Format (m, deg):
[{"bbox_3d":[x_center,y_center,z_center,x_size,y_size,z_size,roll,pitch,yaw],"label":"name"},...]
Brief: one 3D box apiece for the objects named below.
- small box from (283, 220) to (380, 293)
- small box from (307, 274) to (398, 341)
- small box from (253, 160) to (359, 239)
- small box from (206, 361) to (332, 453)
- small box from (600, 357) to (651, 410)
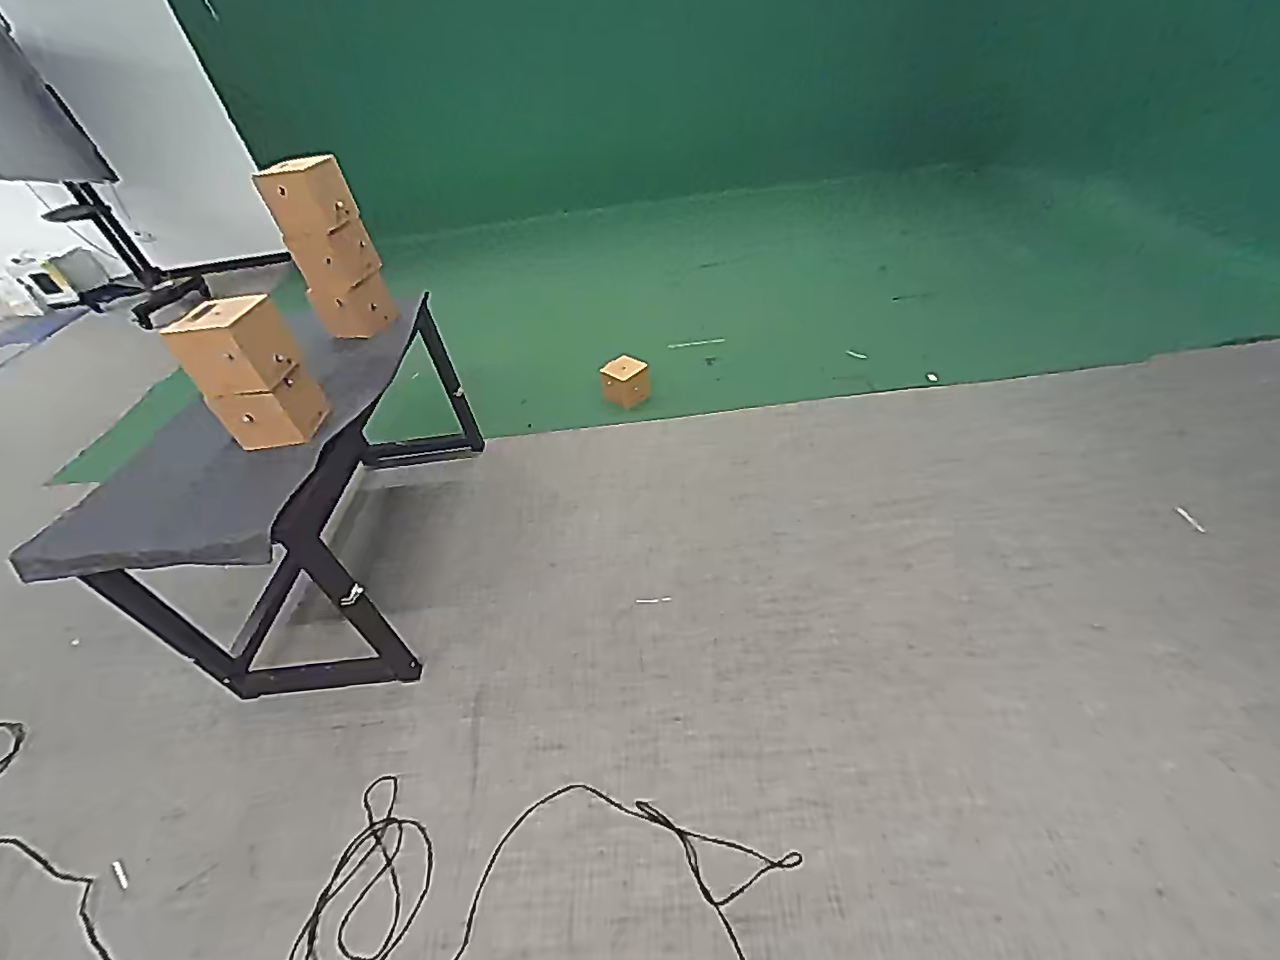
[{"bbox_3d":[-0.978,-0.715,1.733,0.179,0.176,0.168,2,43,16],"label":"small box"},{"bbox_3d":[-0.963,-0.583,1.829,0.179,0.176,0.168,6,44,20],"label":"small box"},{"bbox_3d":[-0.996,-0.840,1.628,0.179,0.176,0.168,-1,43,11],"label":"small box"},{"bbox_3d":[-0.949,-0.186,1.403,0.179,0.176,0.168,-8,42,5],"label":"small box"},{"bbox_3d":[-0.065,-0.463,2.618,0.179,0.176,0.168,29,55,35],"label":"small box"}]
